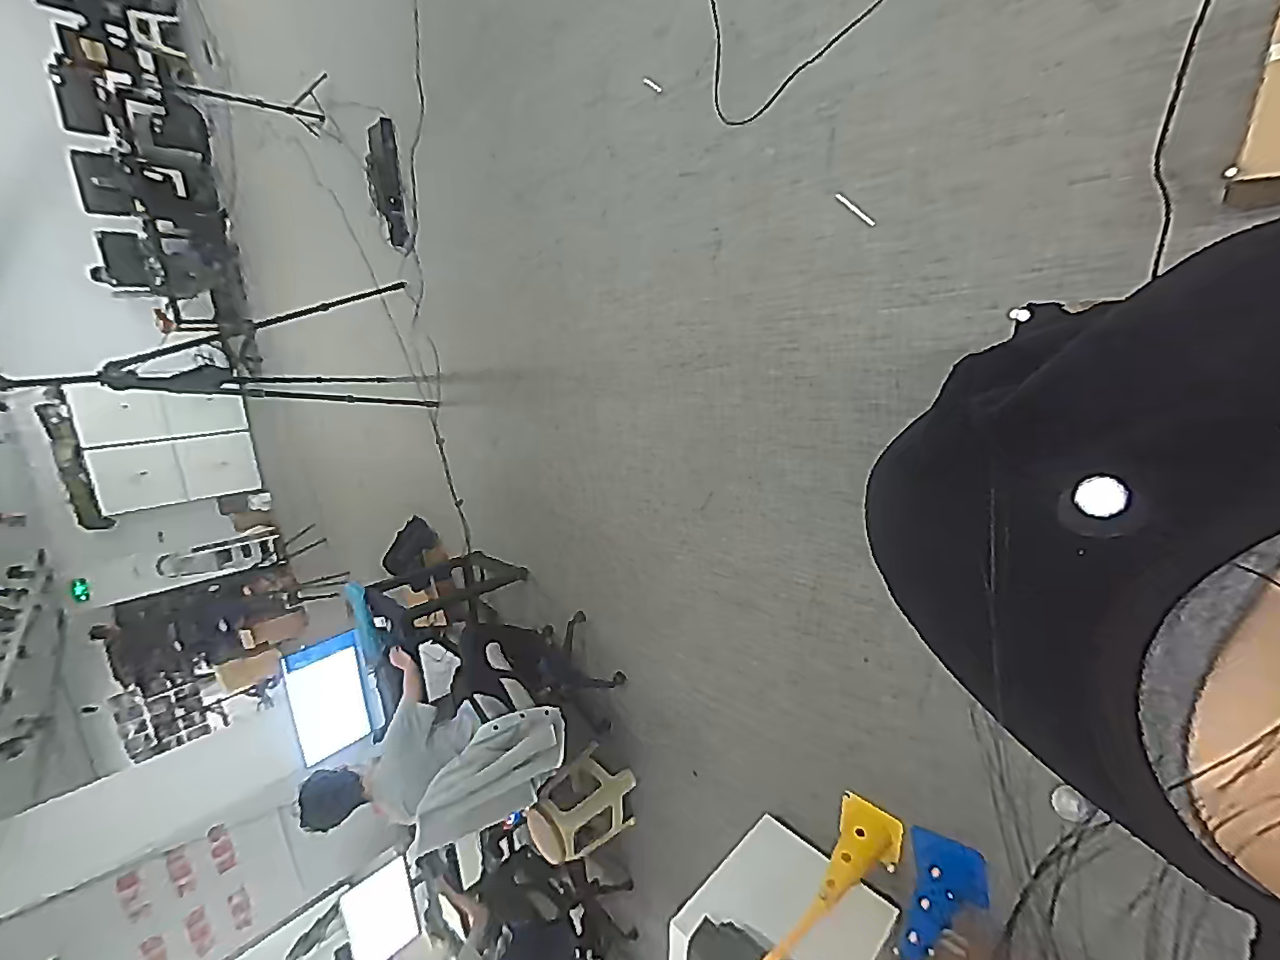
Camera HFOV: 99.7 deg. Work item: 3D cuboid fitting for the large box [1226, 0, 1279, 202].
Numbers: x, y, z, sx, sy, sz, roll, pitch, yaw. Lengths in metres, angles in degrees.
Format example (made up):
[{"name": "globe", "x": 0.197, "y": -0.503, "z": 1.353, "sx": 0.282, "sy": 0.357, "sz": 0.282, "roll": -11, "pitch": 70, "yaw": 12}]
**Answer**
[{"name": "large box", "x": 1.118, "y": -0.582, "z": 0.721, "sx": 0.408, "sy": 0.320, "sz": 0.320, "roll": 17, "pitch": 113, "yaw": 43}]
